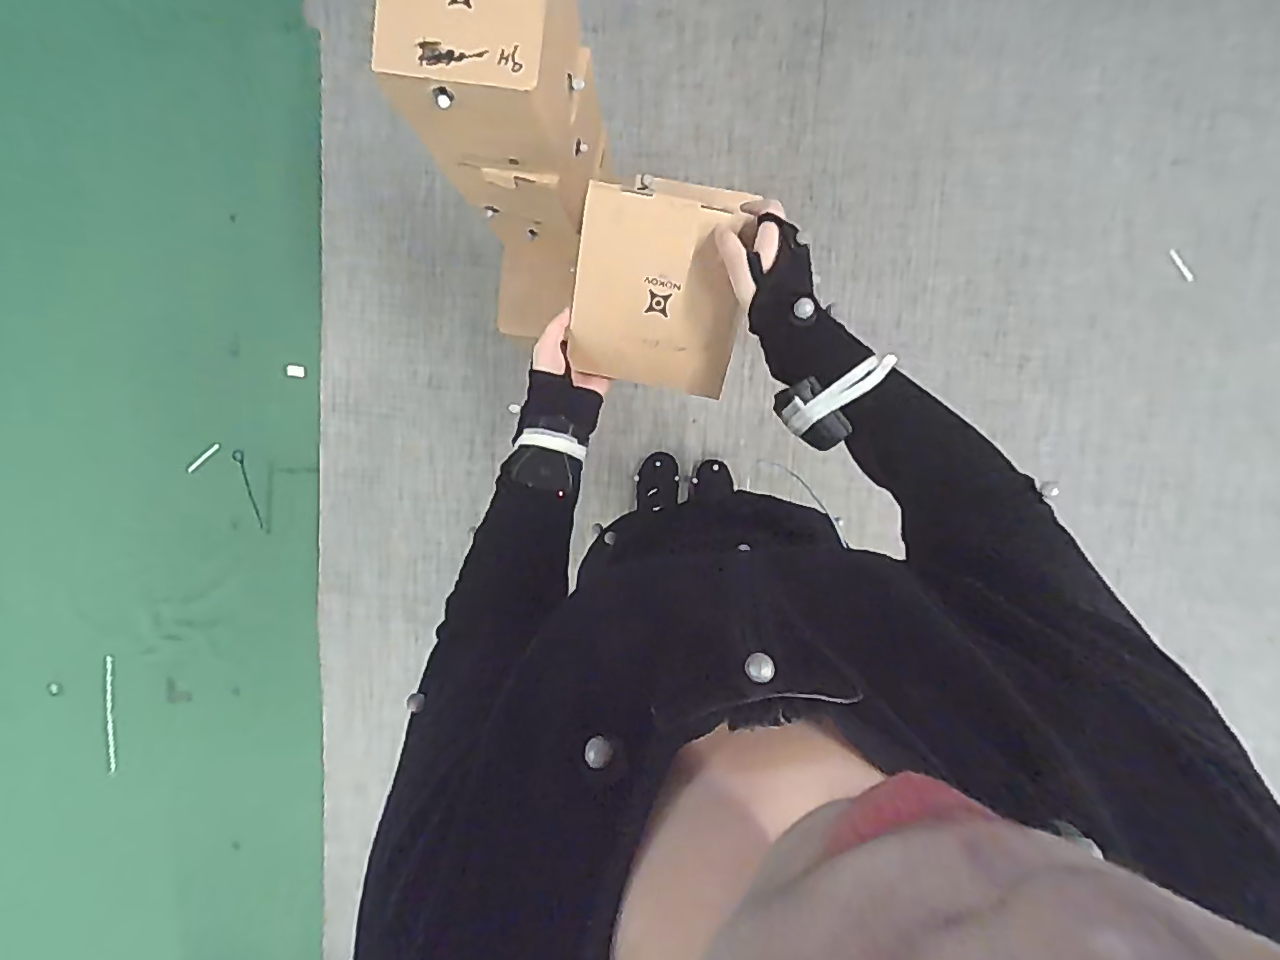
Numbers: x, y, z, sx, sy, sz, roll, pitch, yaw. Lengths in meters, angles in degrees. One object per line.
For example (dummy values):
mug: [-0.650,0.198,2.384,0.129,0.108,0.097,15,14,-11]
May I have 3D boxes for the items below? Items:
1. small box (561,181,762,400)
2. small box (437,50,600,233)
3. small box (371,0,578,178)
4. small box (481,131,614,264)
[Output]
small box: [0.020,-0.211,0.589,0.168,0.176,0.179,12,119,-1]
small box: [-0.160,-0.480,0.767,0.168,0.176,0.179,15,93,1]
small box: [-0.168,-0.476,0.602,0.168,0.176,0.179,8,93,2]
small box: [-0.150,-0.489,0.931,0.179,0.176,0.168,13,95,0]
